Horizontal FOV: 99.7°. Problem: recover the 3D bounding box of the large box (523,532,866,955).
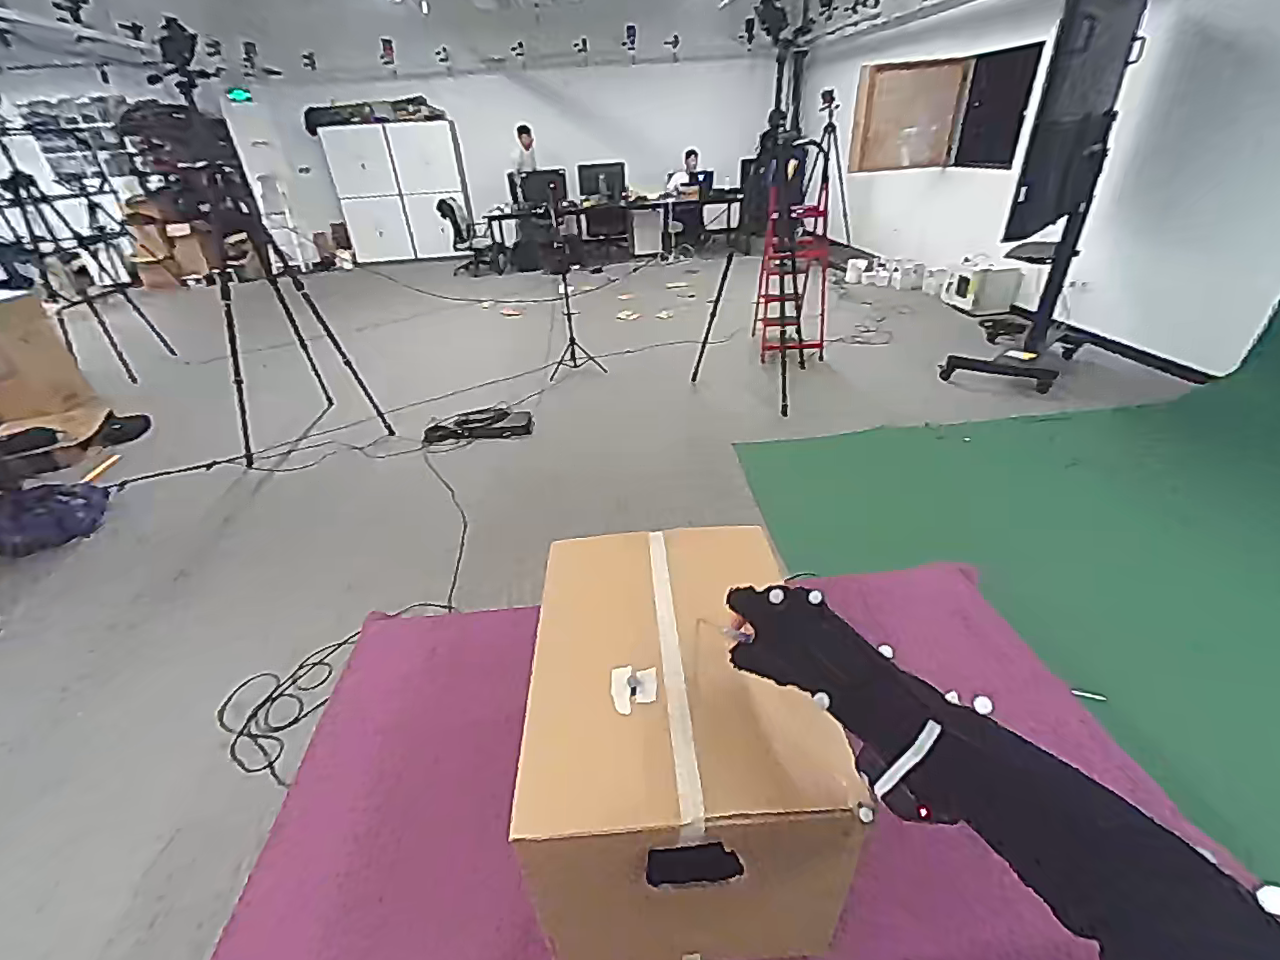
[{"bbox_3d":[0.041,0.316,0.718,0.320,0.320,0.408,-4,33,-1],"label":"large box"}]
